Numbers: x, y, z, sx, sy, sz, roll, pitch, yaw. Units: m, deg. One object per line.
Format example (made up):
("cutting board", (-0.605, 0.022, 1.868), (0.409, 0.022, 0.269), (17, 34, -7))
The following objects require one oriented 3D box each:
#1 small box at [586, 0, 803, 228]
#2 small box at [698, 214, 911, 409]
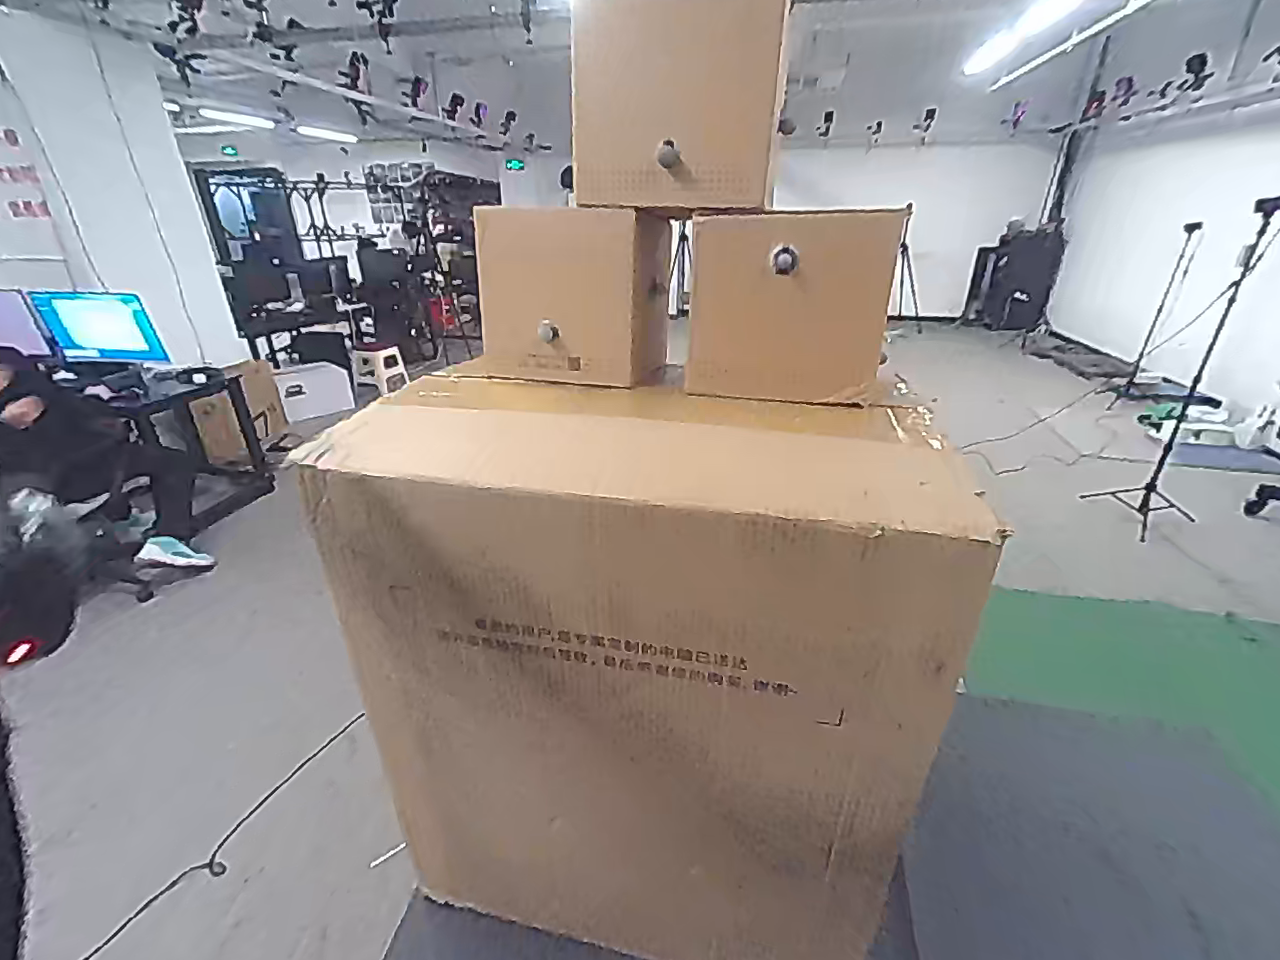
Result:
("small box", (0.056, -0.342, 0.530), (0.179, 0.176, 0.168), (8, 22, 13))
("small box", (0.158, -0.175, 0.563), (0.179, 0.176, 0.168), (7, 24, 12))
